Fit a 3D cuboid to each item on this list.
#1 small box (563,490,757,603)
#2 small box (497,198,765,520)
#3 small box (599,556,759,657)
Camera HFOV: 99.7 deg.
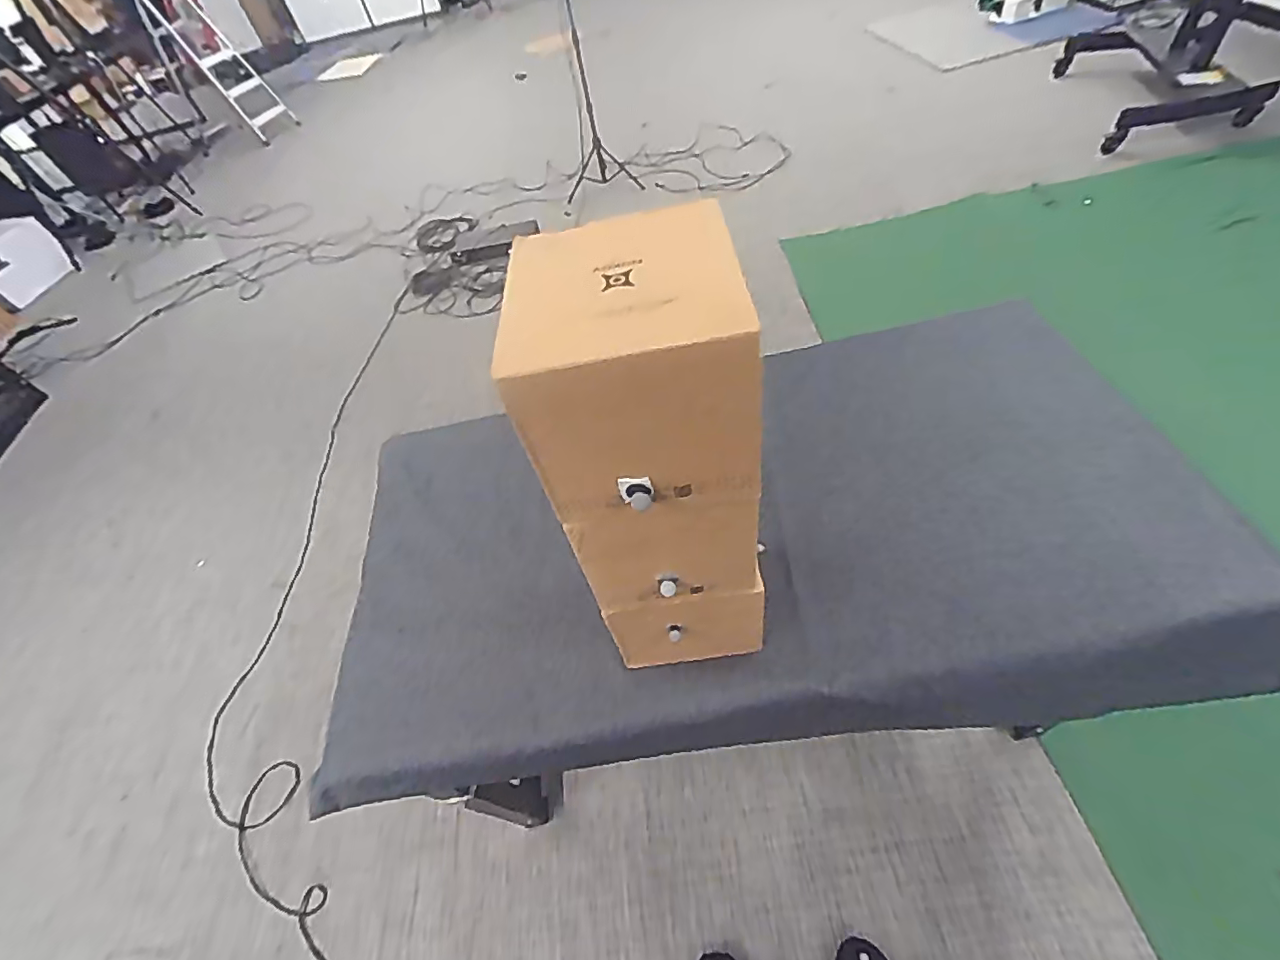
[{"bbox_3d":[0.022,0.006,0.564,0.168,0.176,0.179,-8,51,4],"label":"small box"},{"bbox_3d":[0.001,-0.092,0.437,0.168,0.176,0.179,-9,52,6],"label":"small box"},{"bbox_3d":[0.050,0.112,0.687,0.179,0.176,0.168,-9,51,5],"label":"small box"}]
